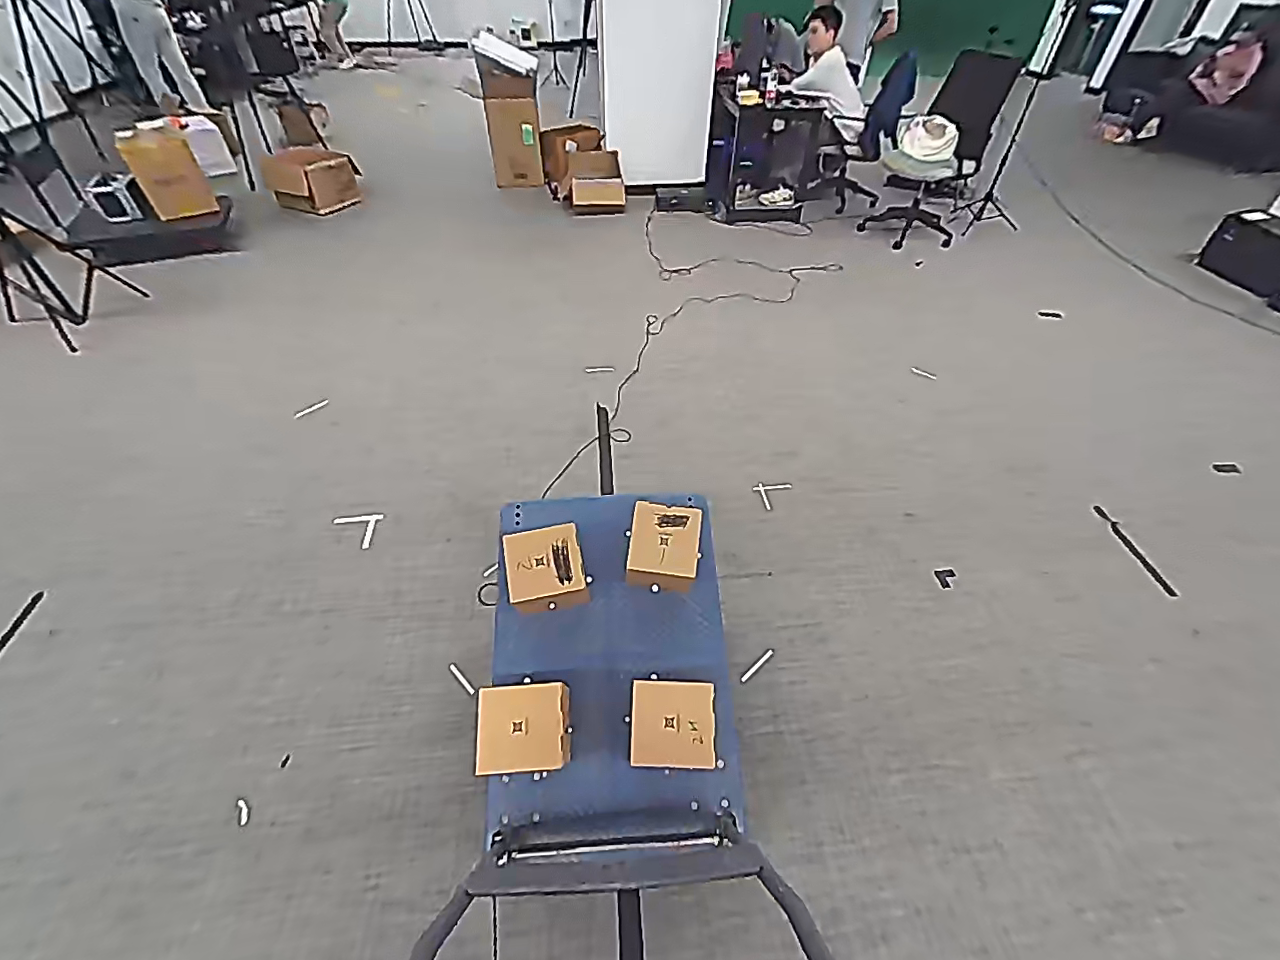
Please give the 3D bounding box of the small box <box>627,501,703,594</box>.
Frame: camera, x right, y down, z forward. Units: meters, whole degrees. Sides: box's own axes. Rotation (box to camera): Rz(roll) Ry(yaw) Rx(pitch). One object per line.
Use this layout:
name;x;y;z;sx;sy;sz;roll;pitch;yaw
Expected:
small box;0.059;0.174;1.366;0.168;0.176;0.179;8;66;2

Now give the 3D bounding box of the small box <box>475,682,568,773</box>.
small box;-0.252;0.542;1.185;0.179;0.176;0.168;-2;65;-5

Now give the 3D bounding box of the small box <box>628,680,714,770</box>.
small box;0.066;0.541;1.196;0.179;0.176;0.168;3;66;0
